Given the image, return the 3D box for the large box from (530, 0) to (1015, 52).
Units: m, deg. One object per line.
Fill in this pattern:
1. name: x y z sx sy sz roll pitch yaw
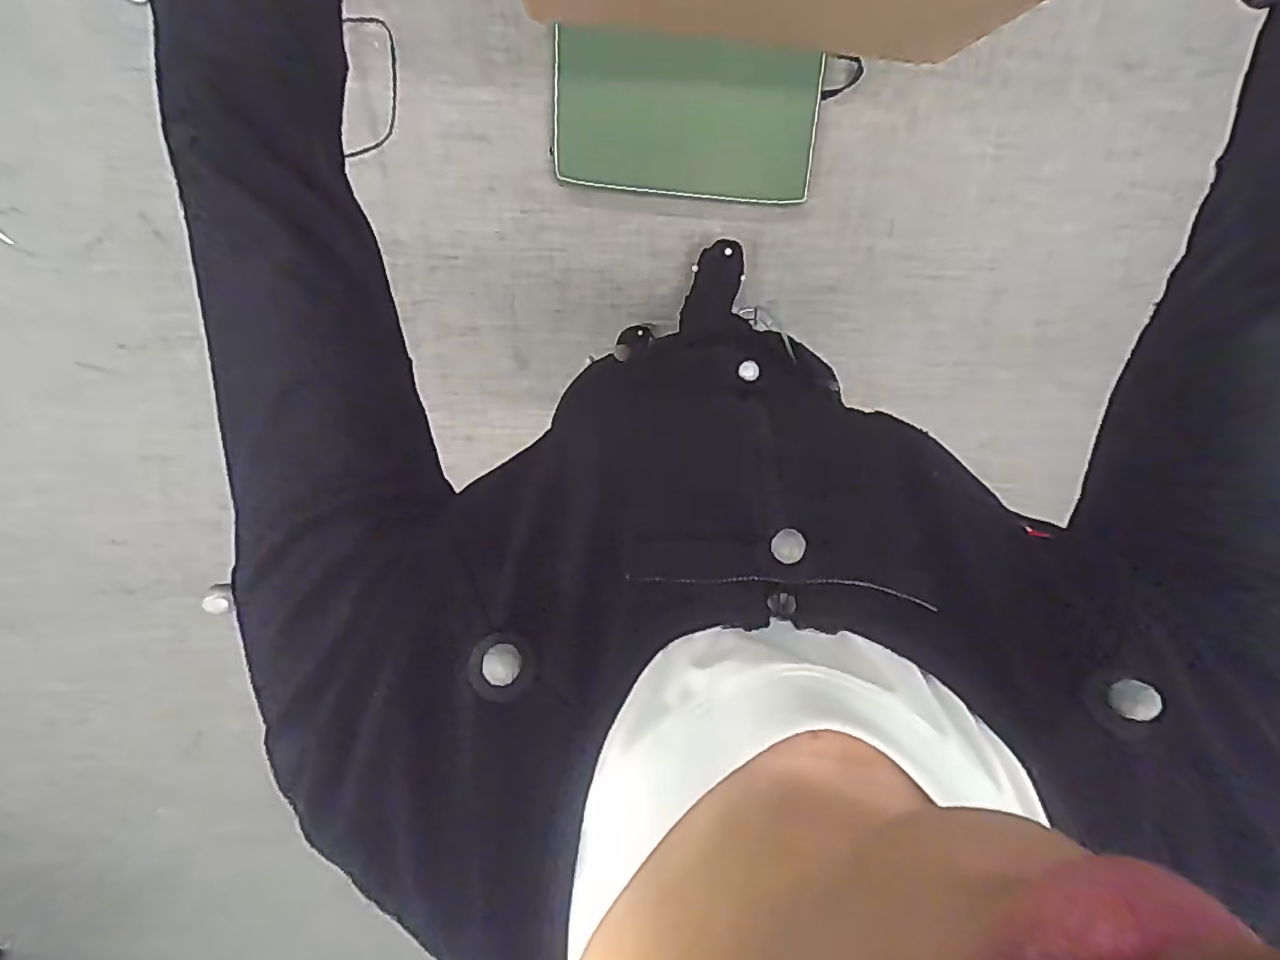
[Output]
1. large box: 0.110 -0.508 0.328 0.408 0.320 0.320 3 114 -4
